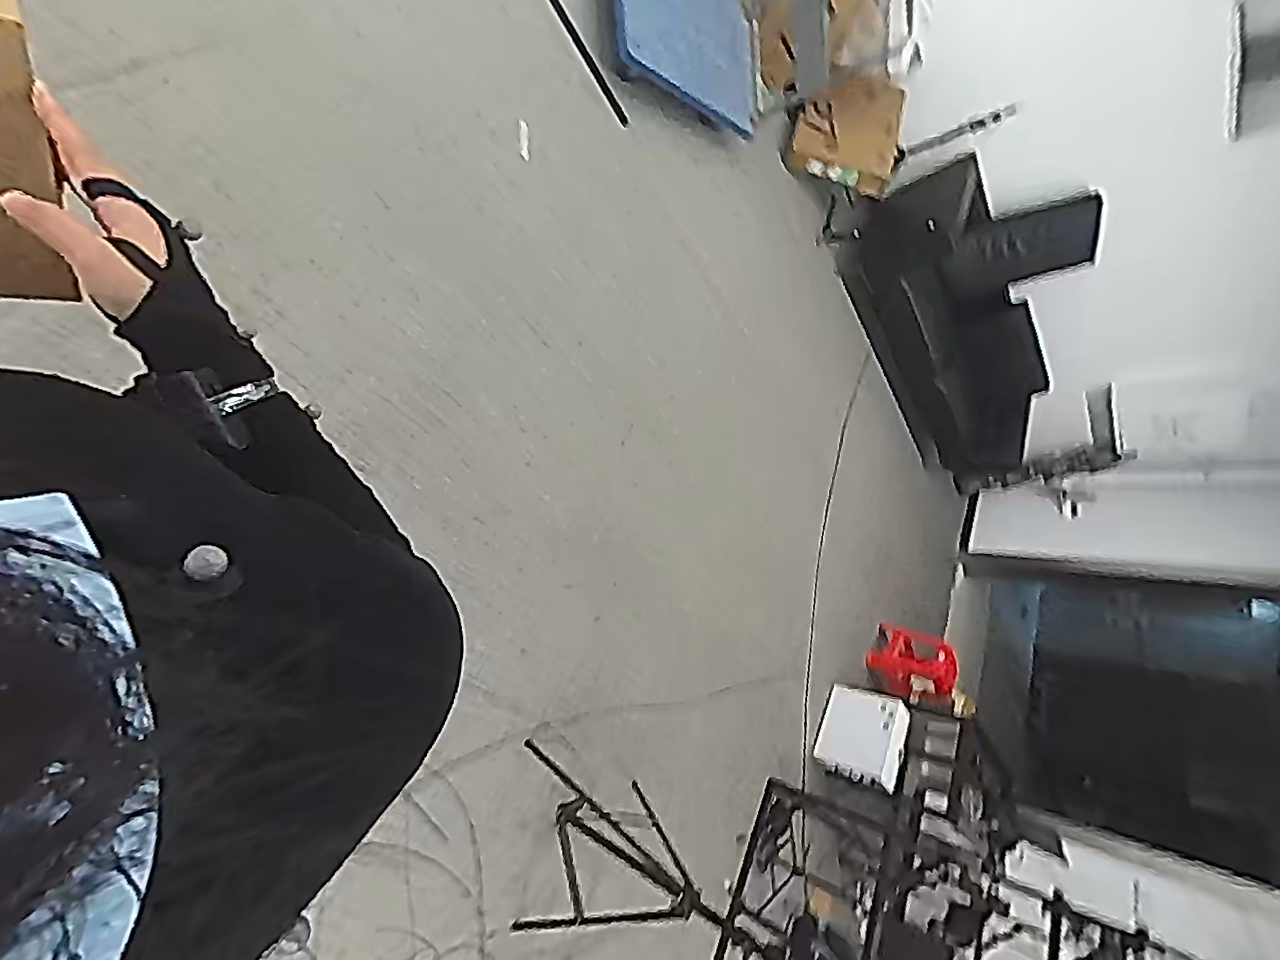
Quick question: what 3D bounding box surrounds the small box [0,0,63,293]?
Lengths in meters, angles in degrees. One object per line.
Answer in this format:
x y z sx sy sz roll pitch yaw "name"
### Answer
-0.495 -0.242 0.333 0.168 0.176 0.179 -13 139 -44 "small box"
